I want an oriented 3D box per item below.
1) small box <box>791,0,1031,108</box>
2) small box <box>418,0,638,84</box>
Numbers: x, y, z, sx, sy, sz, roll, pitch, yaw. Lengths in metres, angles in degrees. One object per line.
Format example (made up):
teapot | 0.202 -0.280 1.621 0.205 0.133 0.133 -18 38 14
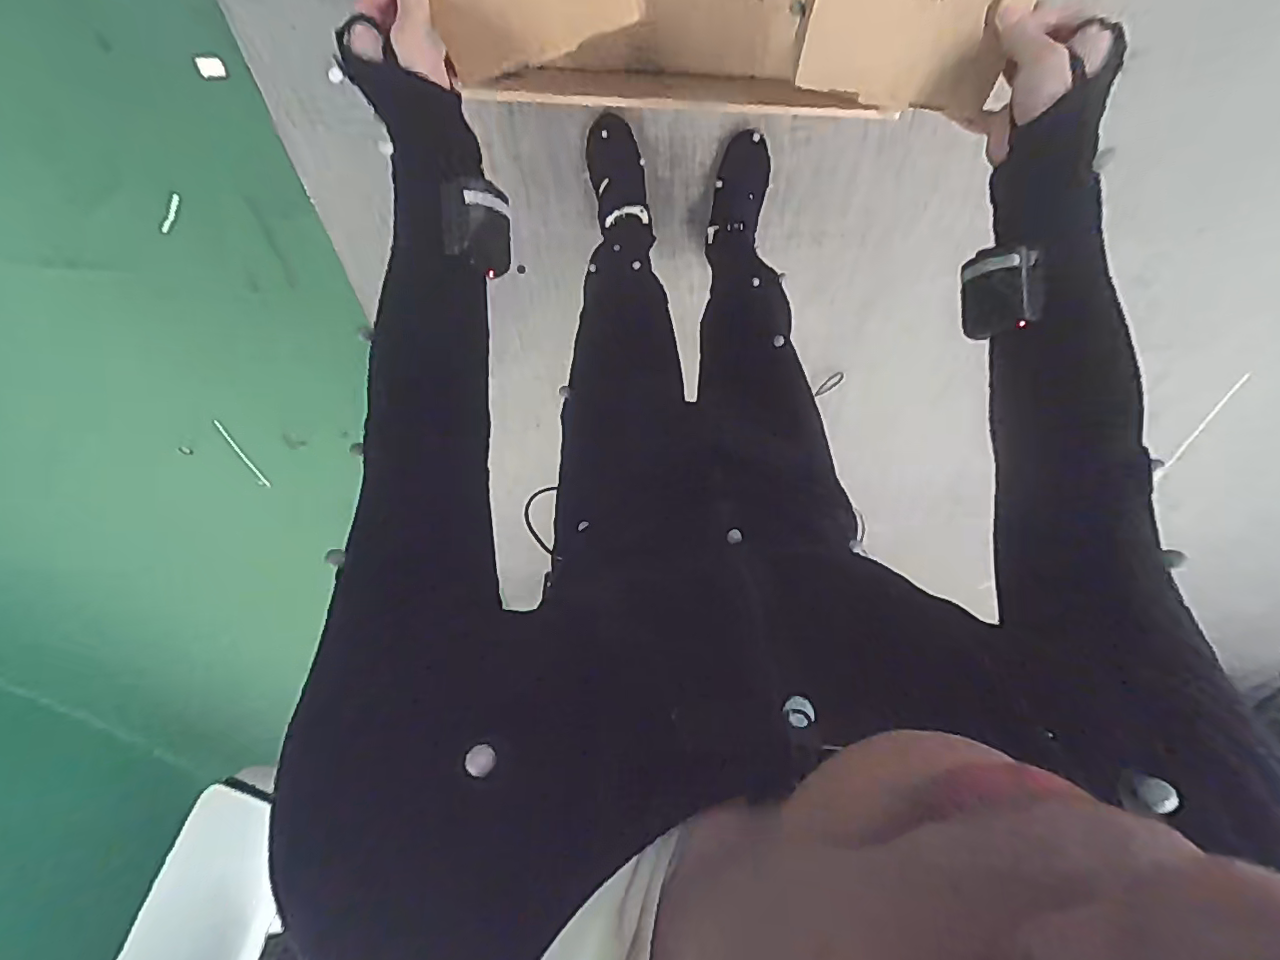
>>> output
small box | 0.236 -0.451 0.455 0.168 0.176 0.179 12 138 3
small box | -0.106 -0.472 0.426 0.168 0.176 0.179 -10 149 16
